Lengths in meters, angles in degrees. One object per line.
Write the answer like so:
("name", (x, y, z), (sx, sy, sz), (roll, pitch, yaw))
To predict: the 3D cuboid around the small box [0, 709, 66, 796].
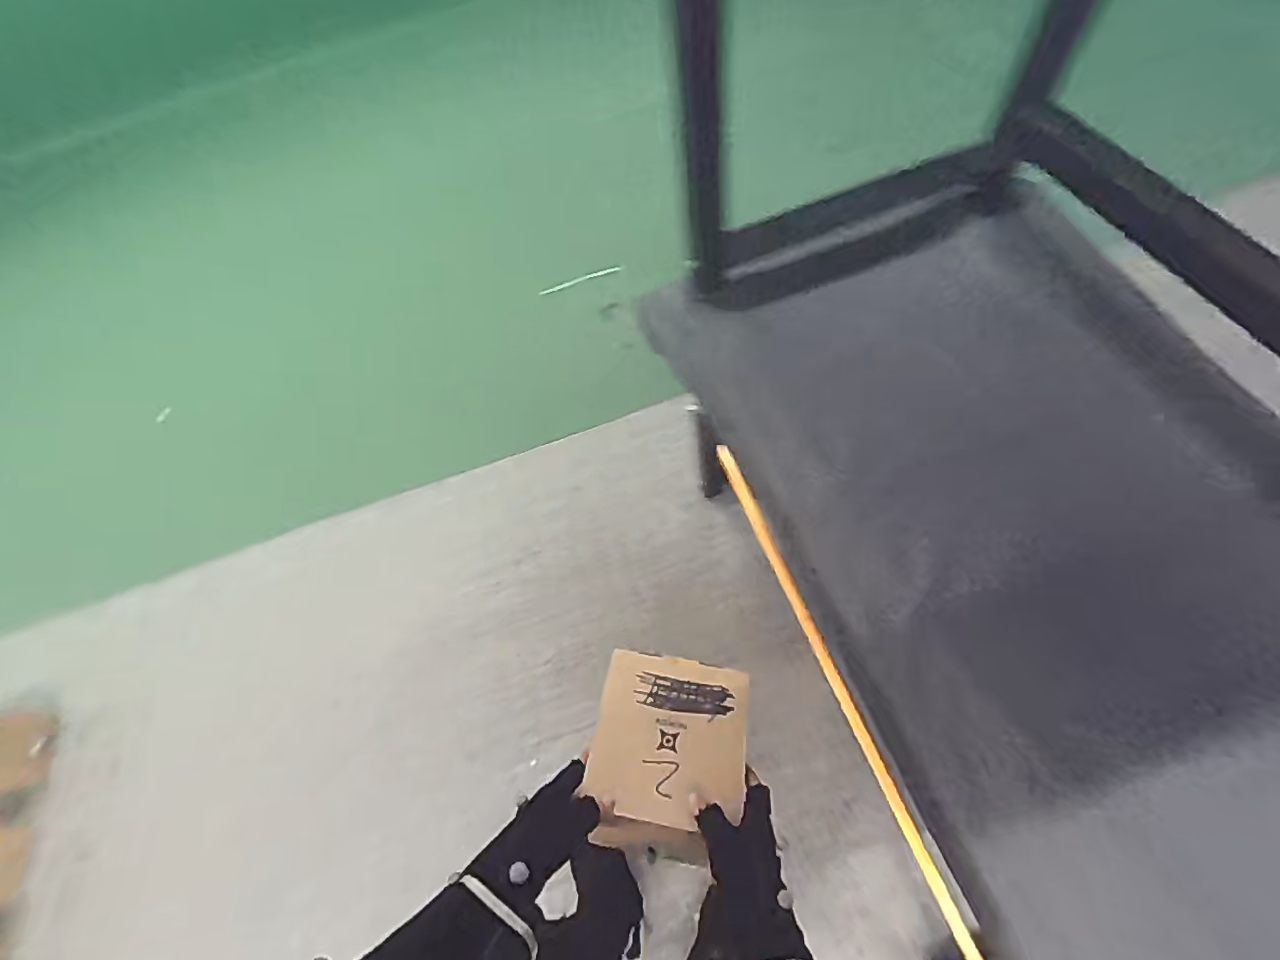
("small box", (-1.654, 0.706, 1.381), (0.179, 0.176, 0.168), (-19, 60, -3))
